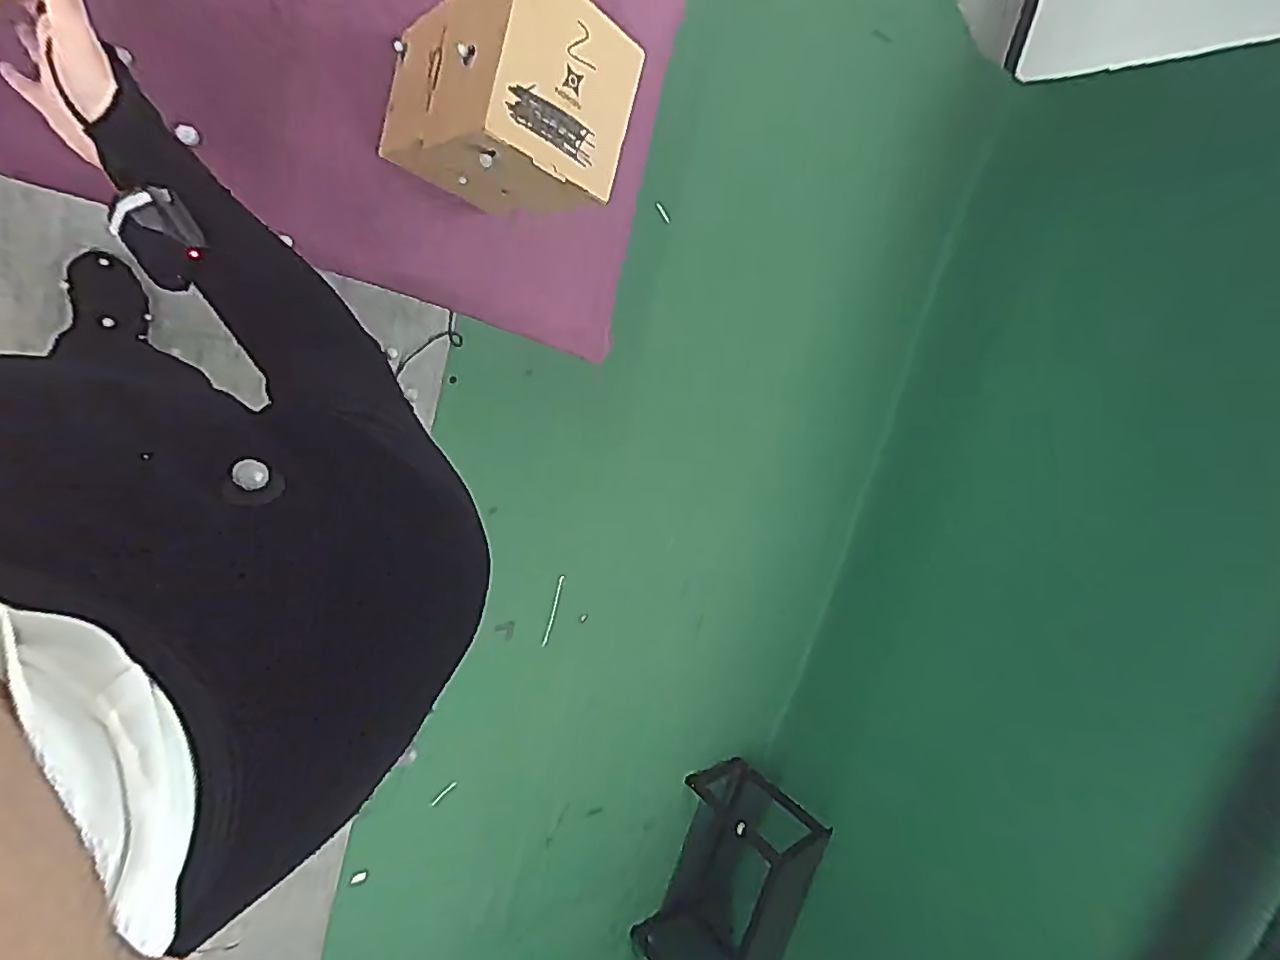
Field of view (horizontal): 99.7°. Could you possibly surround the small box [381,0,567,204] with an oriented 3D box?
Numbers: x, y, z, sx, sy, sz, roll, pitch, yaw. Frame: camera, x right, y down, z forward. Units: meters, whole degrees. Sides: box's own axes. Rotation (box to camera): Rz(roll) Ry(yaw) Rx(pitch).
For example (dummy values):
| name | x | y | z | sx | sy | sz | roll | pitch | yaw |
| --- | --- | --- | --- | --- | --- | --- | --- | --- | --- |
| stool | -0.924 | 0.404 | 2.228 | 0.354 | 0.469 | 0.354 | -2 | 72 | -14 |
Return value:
| name | x | y | z | sx | sy | sz | roll | pitch | yaw |
| --- | --- | --- | --- | --- | --- | --- | --- | --- | --- |
| small box | -0.236 | -0.503 | 0.753 | 0.179 | 0.176 | 0.168 | 8 | 102 | -46 |
